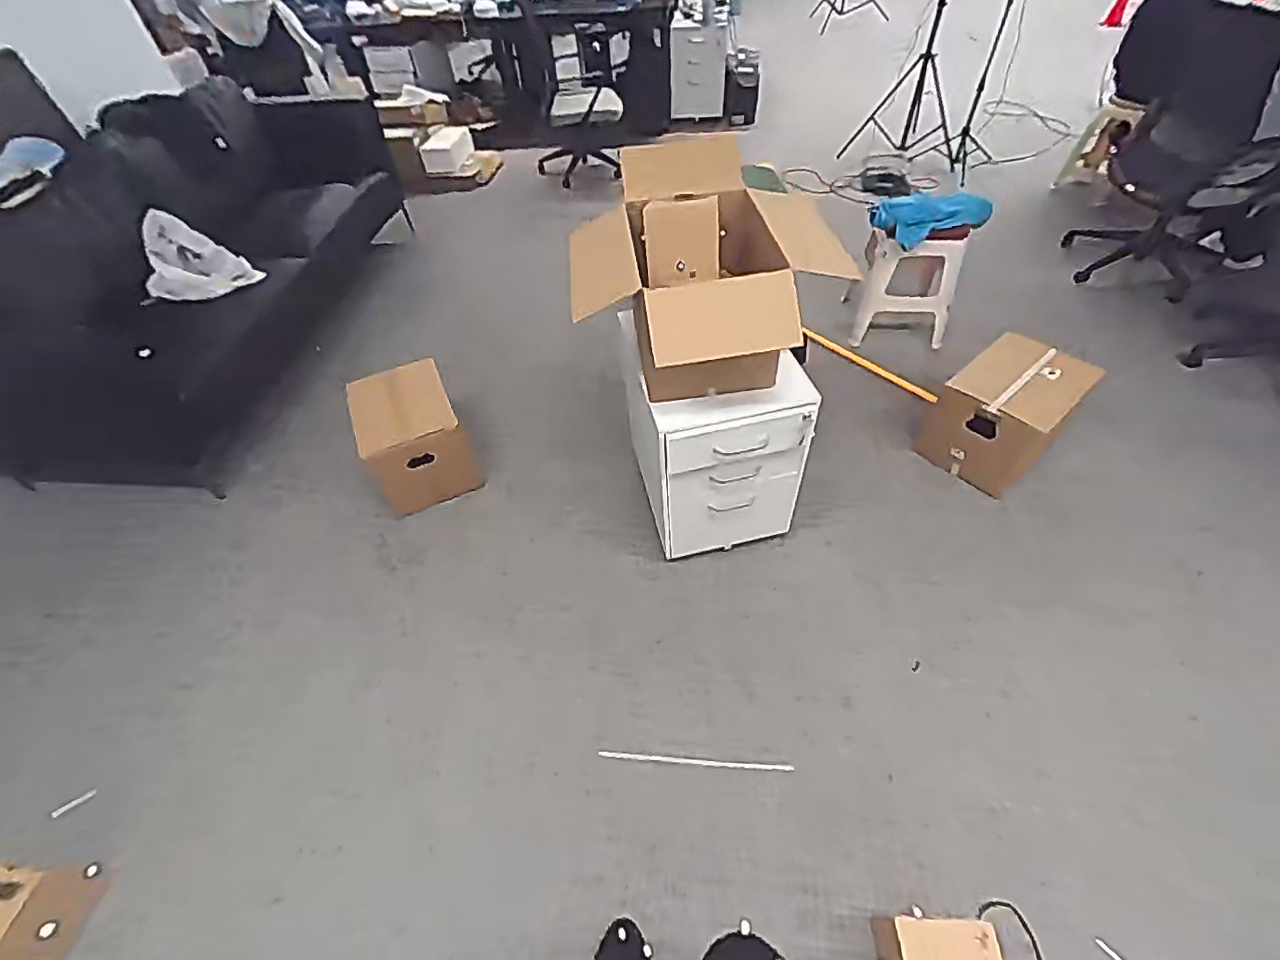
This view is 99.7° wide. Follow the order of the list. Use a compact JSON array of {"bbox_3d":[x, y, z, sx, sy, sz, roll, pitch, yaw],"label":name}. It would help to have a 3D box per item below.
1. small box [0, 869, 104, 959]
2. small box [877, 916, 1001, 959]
[{"bbox_3d":[-1.317,0.951,1.151,0.168,0.176,0.179,2,50,7],"label":"small box"},{"bbox_3d":[0.552,0.917,0.995,0.179,0.176,0.168,-1,50,6],"label":"small box"}]
